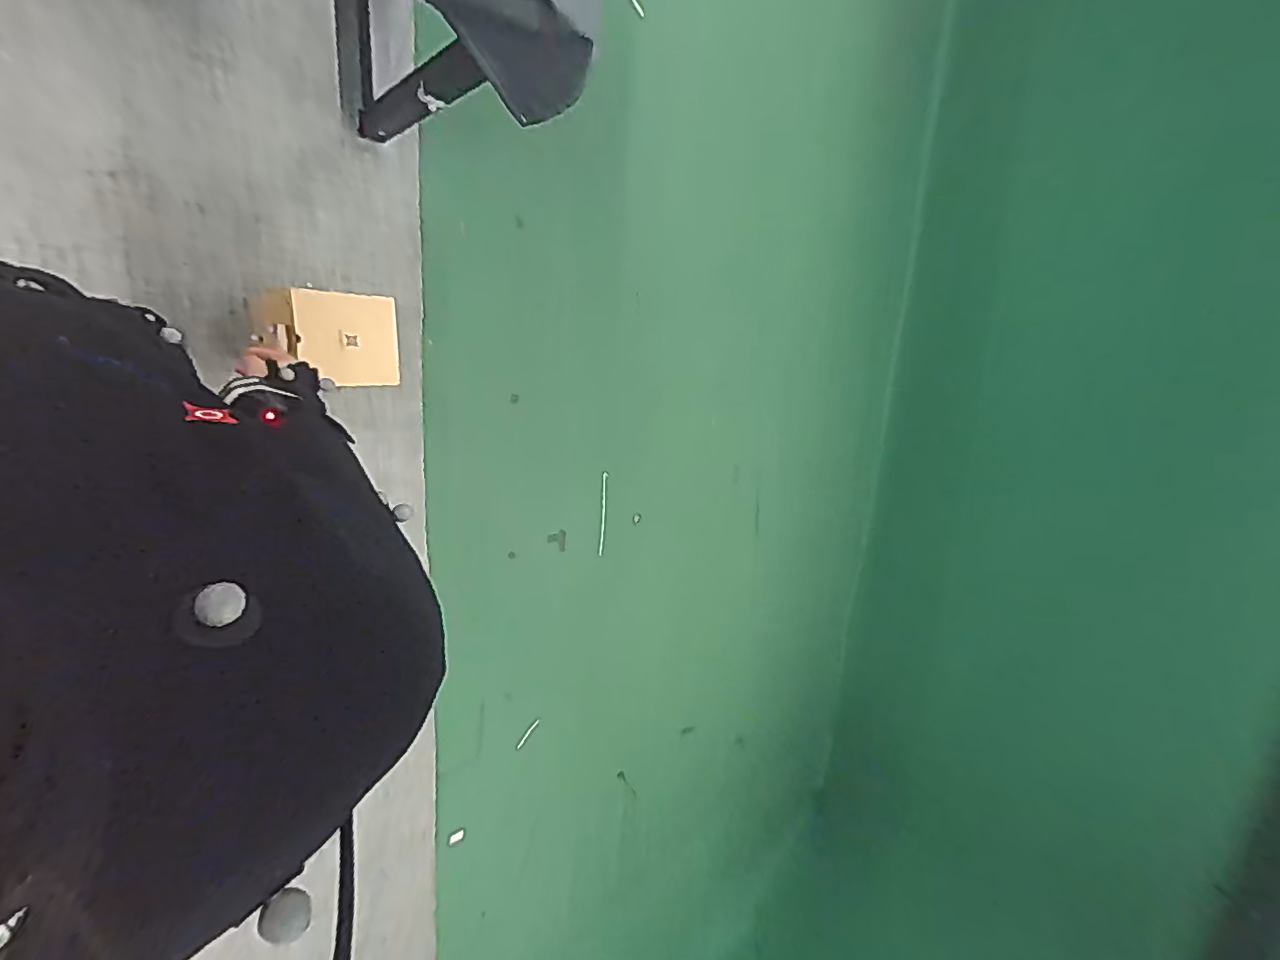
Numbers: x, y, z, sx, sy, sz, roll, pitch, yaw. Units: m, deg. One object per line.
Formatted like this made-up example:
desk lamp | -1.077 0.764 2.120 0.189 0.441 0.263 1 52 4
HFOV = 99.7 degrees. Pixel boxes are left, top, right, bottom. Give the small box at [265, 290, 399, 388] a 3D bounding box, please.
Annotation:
small box | -0.582 -0.266 1.025 0.179 0.176 0.168 -12 110 -44
